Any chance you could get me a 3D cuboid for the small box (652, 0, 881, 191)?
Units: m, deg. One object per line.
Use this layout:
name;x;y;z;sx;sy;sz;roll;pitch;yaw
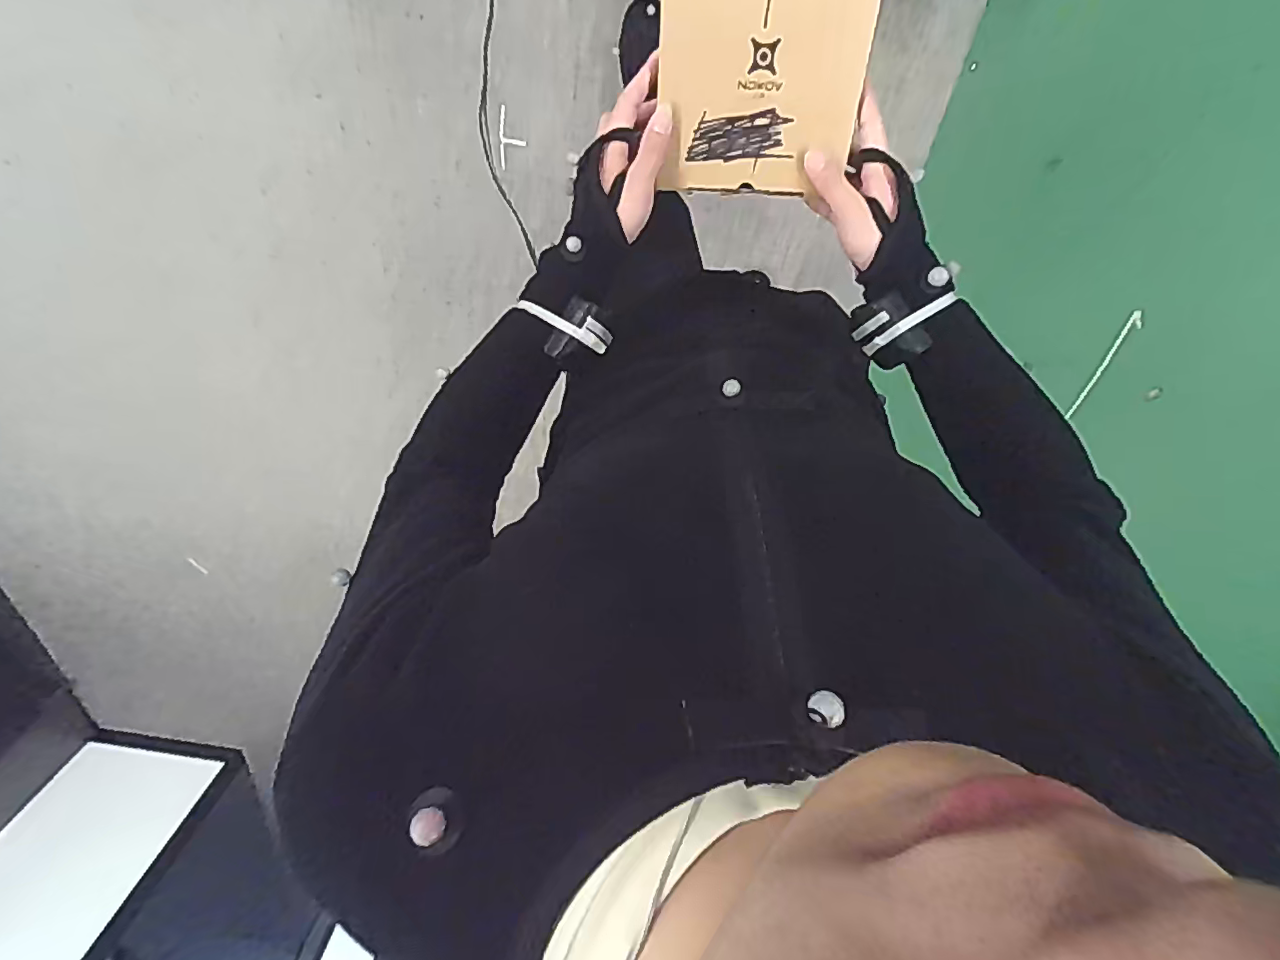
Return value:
small box;0.104;-0.374;0.493;0.168;0.176;0.179;5;122;3
